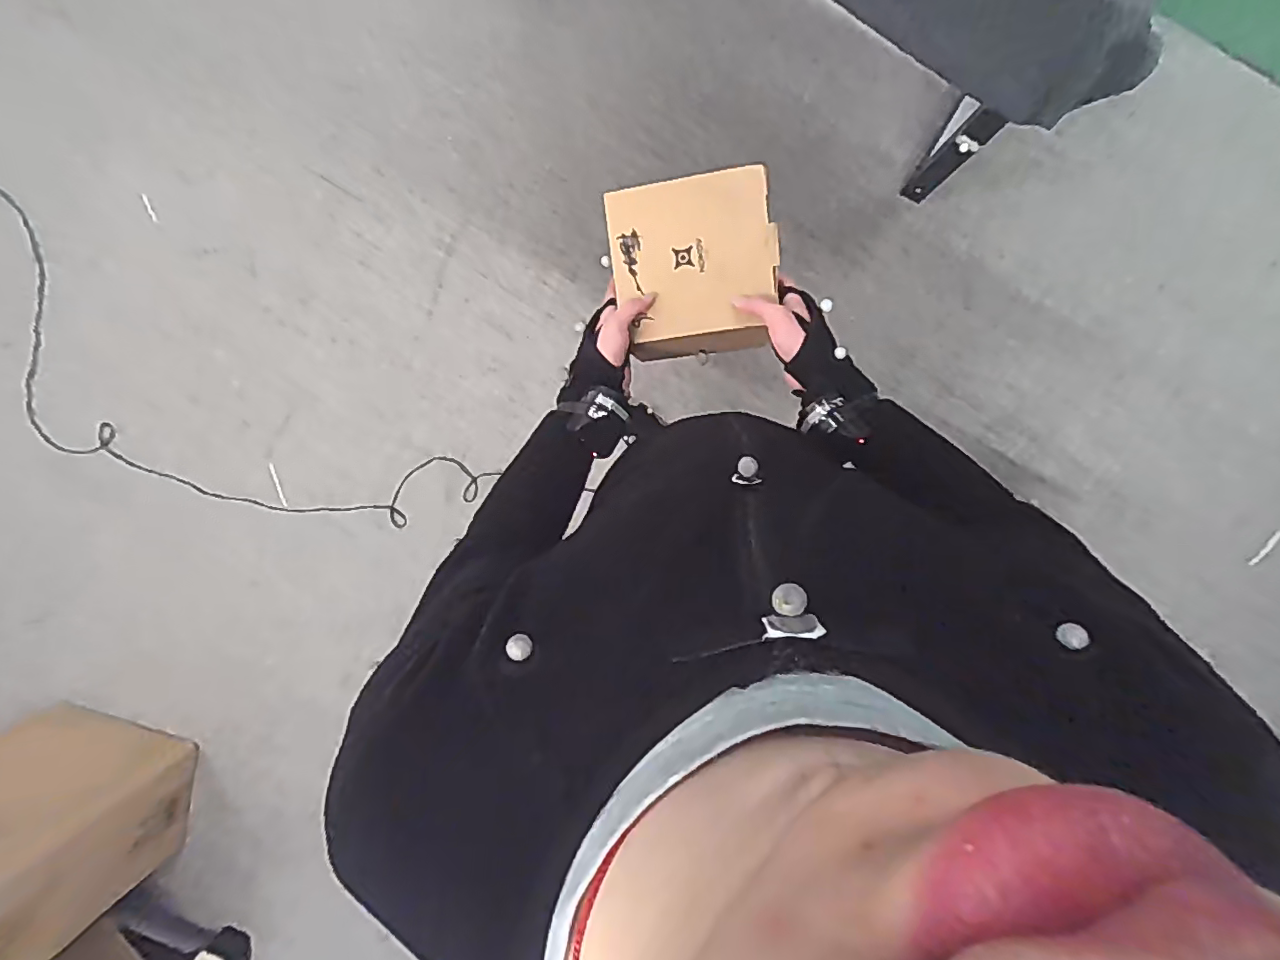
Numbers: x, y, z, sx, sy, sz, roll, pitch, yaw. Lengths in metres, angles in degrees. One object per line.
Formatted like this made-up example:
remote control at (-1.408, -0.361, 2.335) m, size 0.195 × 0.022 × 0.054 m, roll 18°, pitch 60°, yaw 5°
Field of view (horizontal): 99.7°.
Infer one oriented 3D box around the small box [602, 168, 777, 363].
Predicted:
small box at (0.060, -0.242, 0.654) m, size 0.179 × 0.176 × 0.168 m, roll -6°, pitch 93°, yaw 7°
